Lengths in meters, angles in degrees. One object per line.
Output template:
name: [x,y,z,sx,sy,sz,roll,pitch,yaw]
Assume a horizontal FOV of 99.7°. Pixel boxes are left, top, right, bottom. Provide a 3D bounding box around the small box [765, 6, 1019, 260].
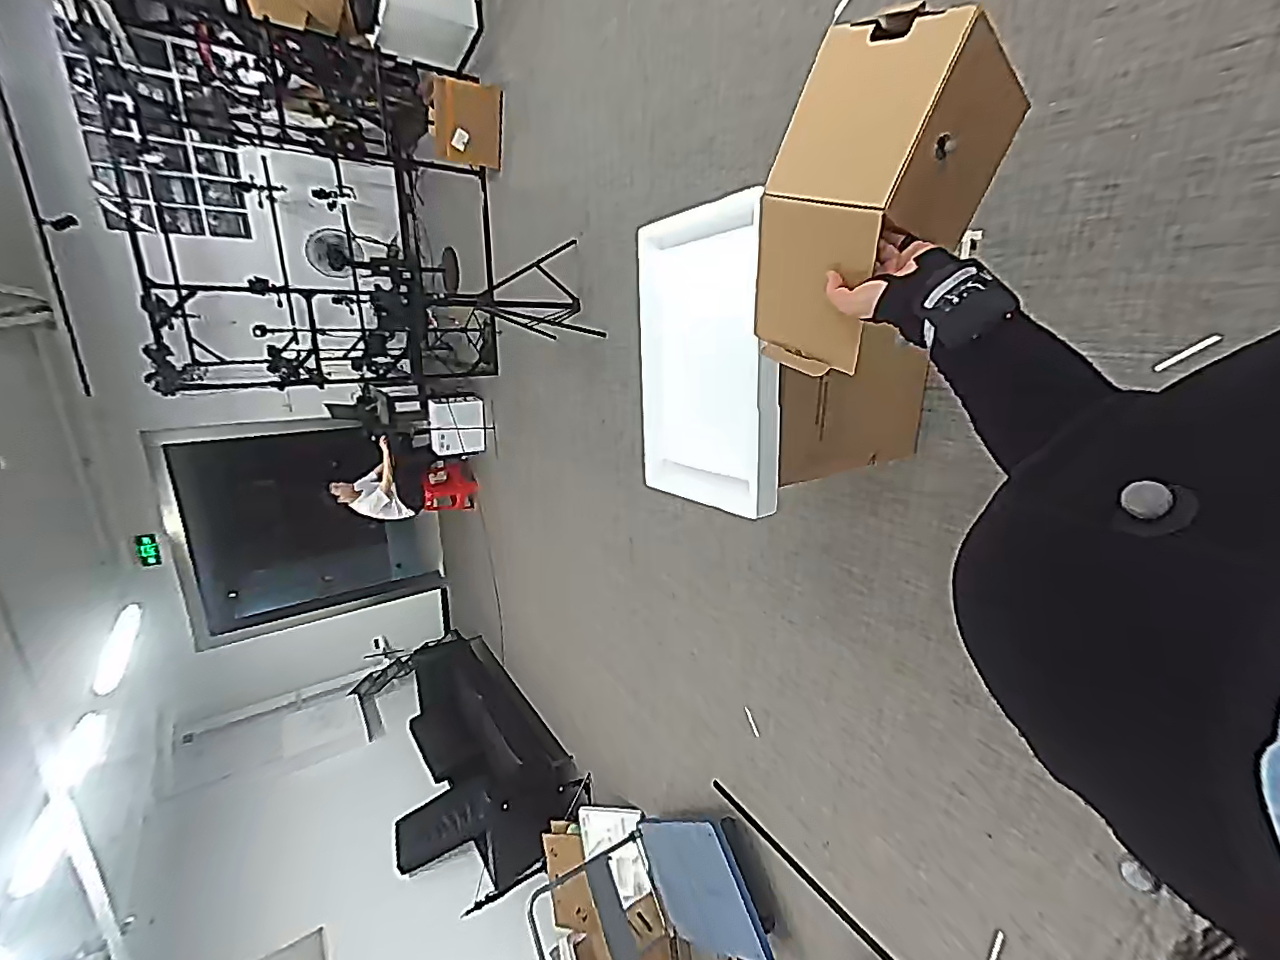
small box: [0.279,-0.366,0.602,0.168,0.176,0.179,39,114,44]
